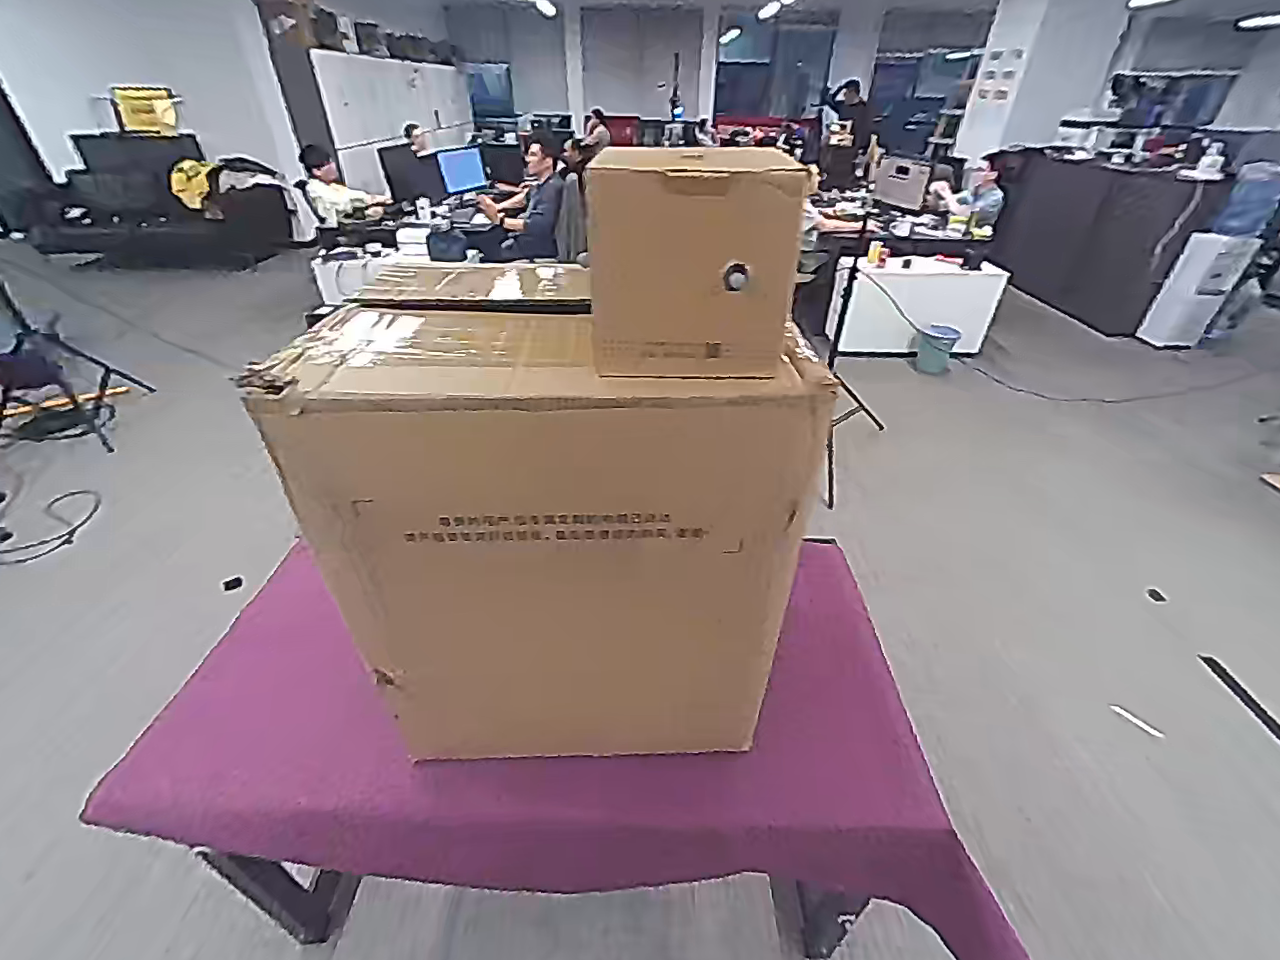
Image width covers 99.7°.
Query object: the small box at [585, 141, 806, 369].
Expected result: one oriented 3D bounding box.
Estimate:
[{"bbox_3d":[0.045,-0.213,0.507,0.168,0.176,0.179,2,35,1],"label":"small box"}]
